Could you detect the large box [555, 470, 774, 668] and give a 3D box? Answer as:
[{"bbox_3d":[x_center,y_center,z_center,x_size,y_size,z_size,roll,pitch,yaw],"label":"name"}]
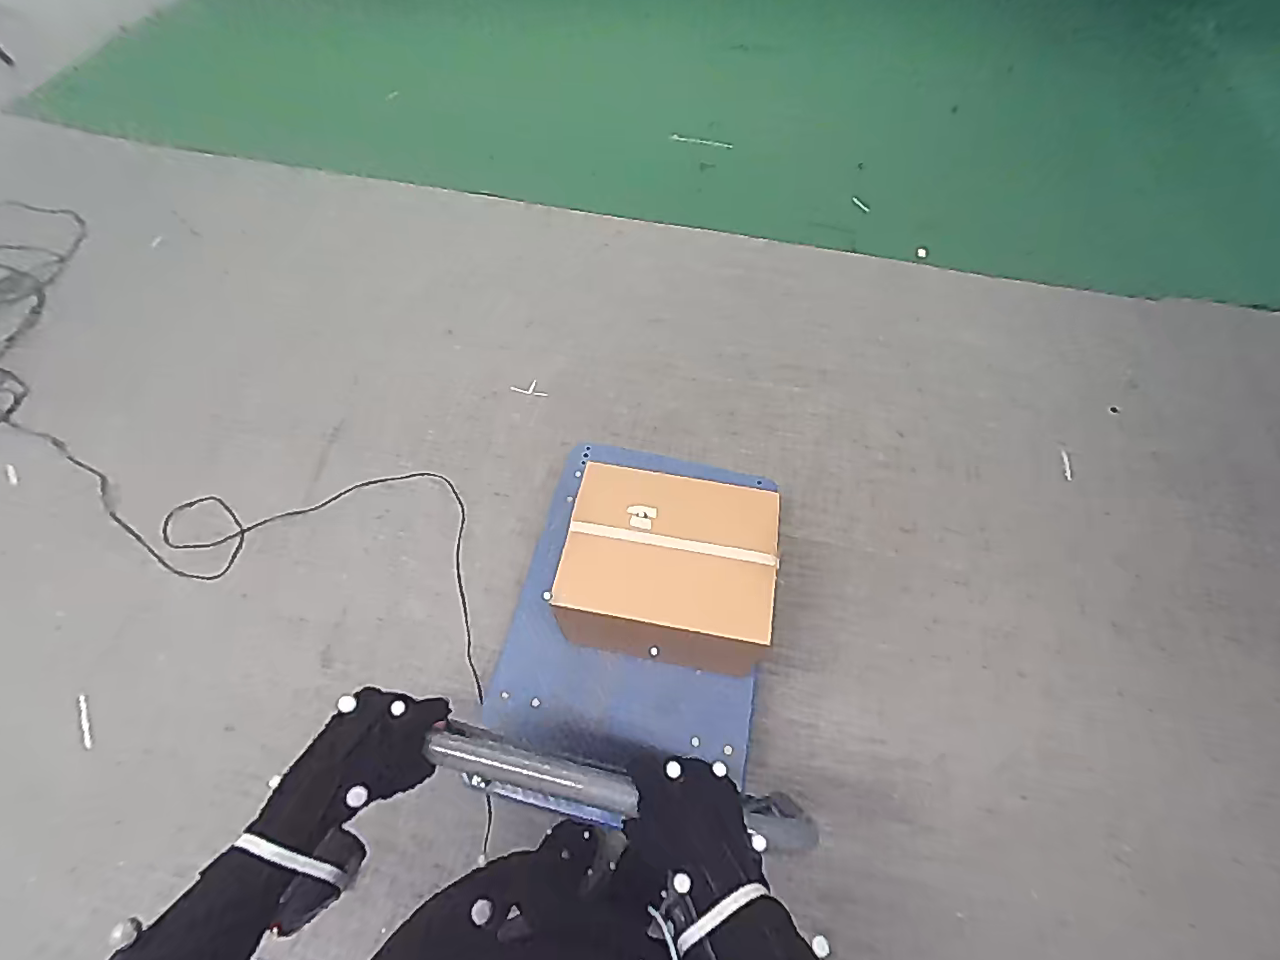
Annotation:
[{"bbox_3d":[0.063,0.205,1.187,0.408,0.320,0.320,8,60,5],"label":"large box"}]
